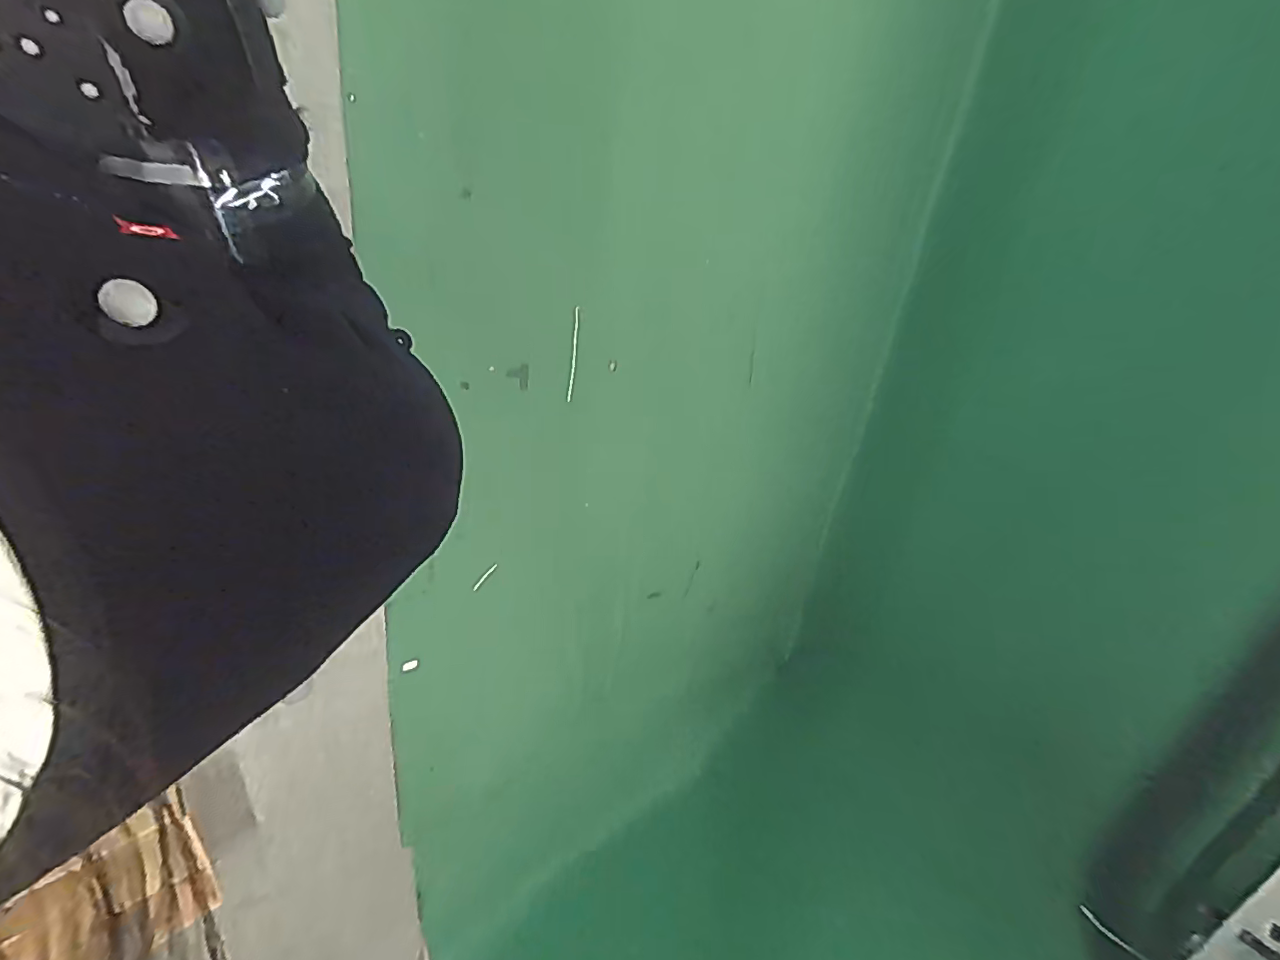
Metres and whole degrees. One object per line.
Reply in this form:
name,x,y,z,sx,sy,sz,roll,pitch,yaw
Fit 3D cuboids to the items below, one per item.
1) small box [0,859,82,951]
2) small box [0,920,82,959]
small box,-1.386,0.995,1.203,0.168,0.176,0.179,-16,124,-42
small box,-1.275,1.060,1.103,0.168,0.176,0.179,-17,126,-41
